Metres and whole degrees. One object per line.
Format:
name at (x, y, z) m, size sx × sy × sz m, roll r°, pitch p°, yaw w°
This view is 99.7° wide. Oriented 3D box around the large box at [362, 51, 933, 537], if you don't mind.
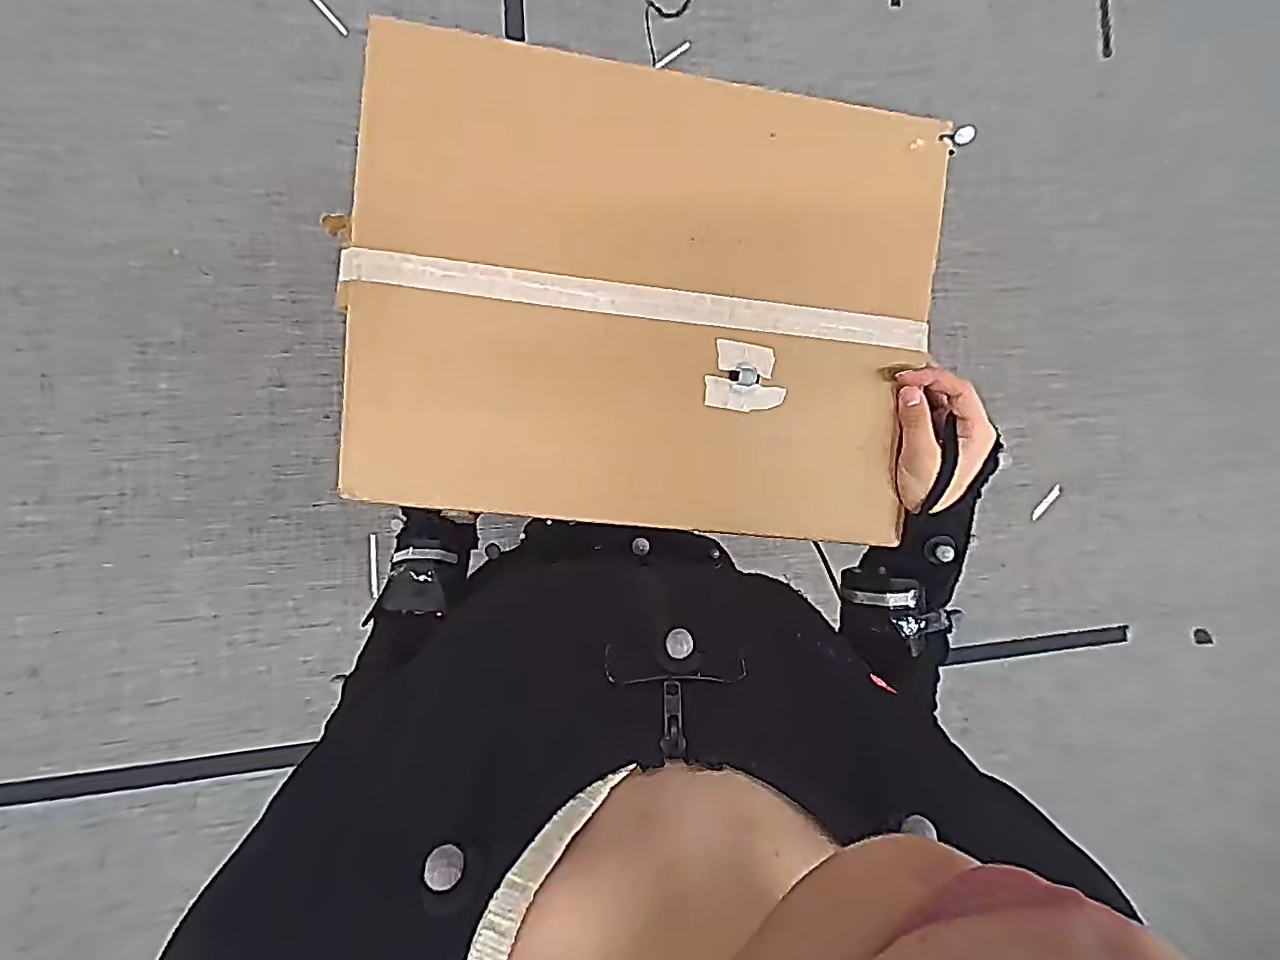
large box at (-0.006, -0.128, 0.535) m, size 0.408 × 0.320 × 0.320 m, roll 5°, pitch 94°, yaw -8°
